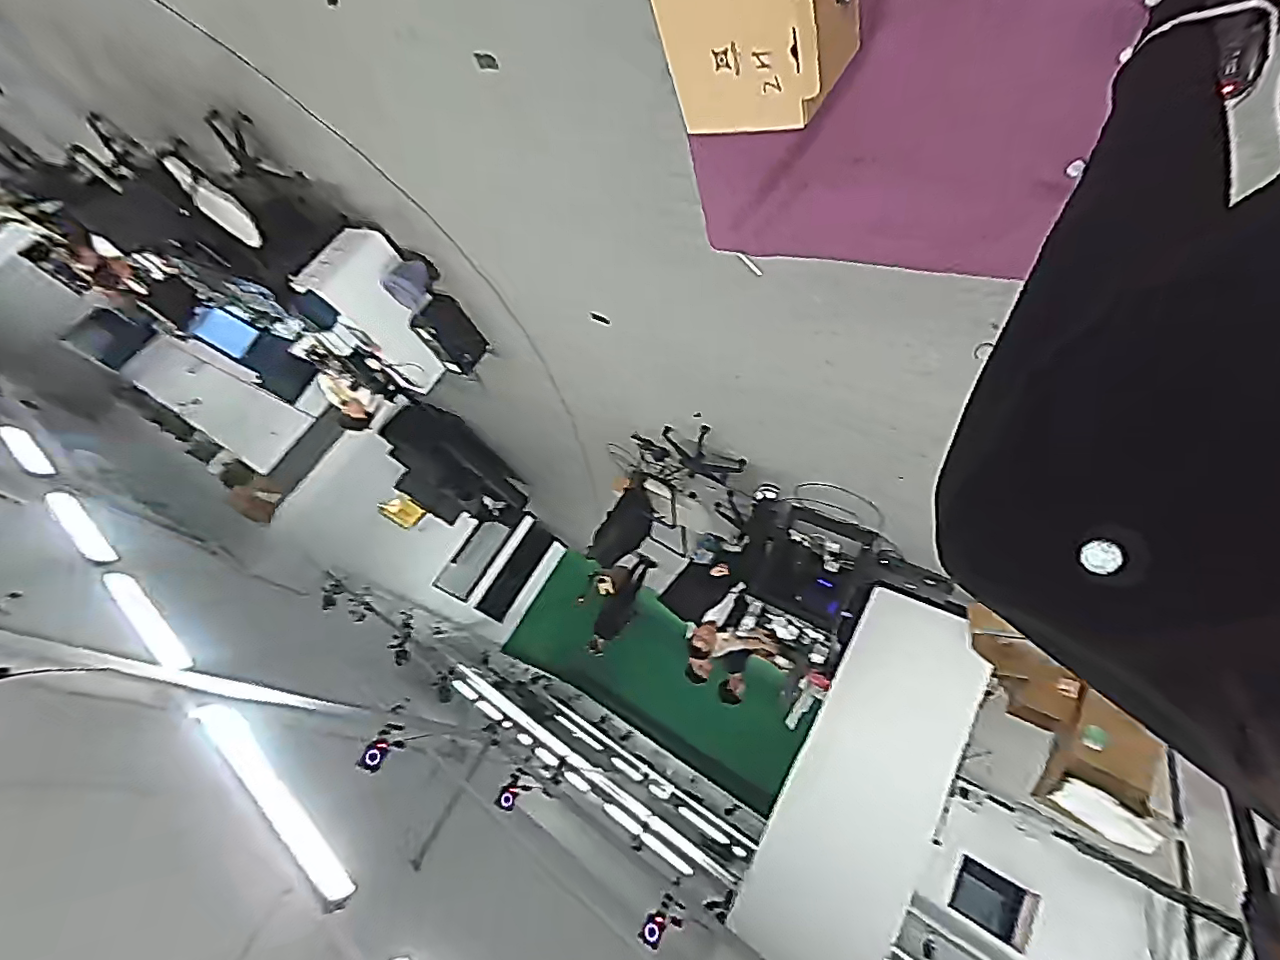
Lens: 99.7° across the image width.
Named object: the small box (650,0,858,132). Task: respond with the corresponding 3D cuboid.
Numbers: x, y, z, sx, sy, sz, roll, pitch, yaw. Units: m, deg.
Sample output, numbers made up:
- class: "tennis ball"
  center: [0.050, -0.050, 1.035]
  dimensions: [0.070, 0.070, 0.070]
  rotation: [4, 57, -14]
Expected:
- class: "small box"
  center: [0.144, -0.557, 0.654]
  dimensions: [0.179, 0.176, 0.168]
  rotation: [20, 160, 33]
